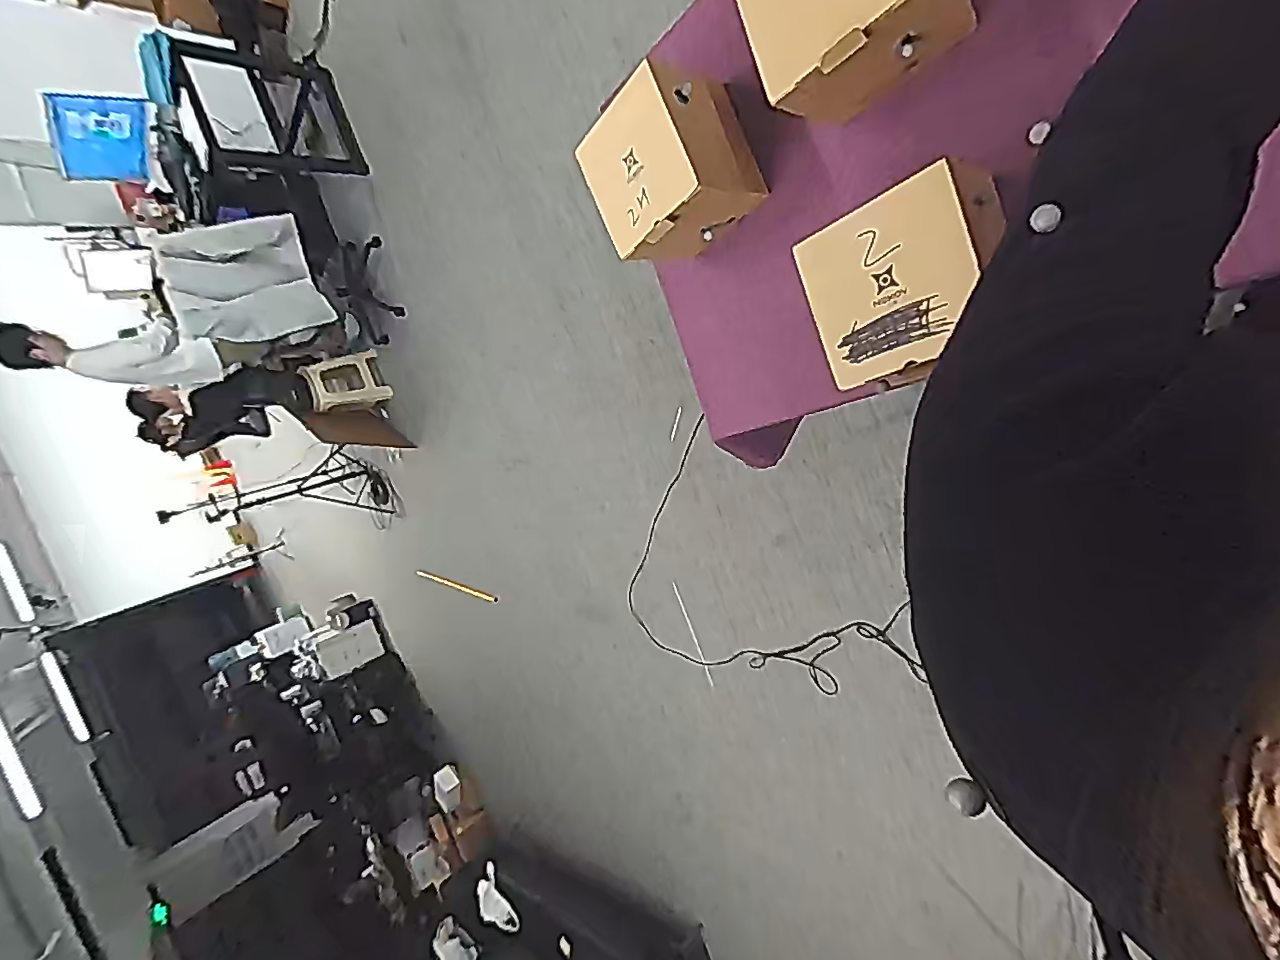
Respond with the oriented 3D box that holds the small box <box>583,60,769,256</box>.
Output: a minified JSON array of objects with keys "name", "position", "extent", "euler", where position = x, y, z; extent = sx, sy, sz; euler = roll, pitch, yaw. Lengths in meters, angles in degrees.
[{"name":"small box","position":[0.054,-0.445,0.781],"extent":[0.168,0.176,0.179],"euler":[-22,91,48]}]

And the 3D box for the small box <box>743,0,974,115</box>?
[{"name":"small box","position":[0.227,-0.522,0.572],"extent":[0.168,0.176,0.179],"euler":[-14,97,47]}]
